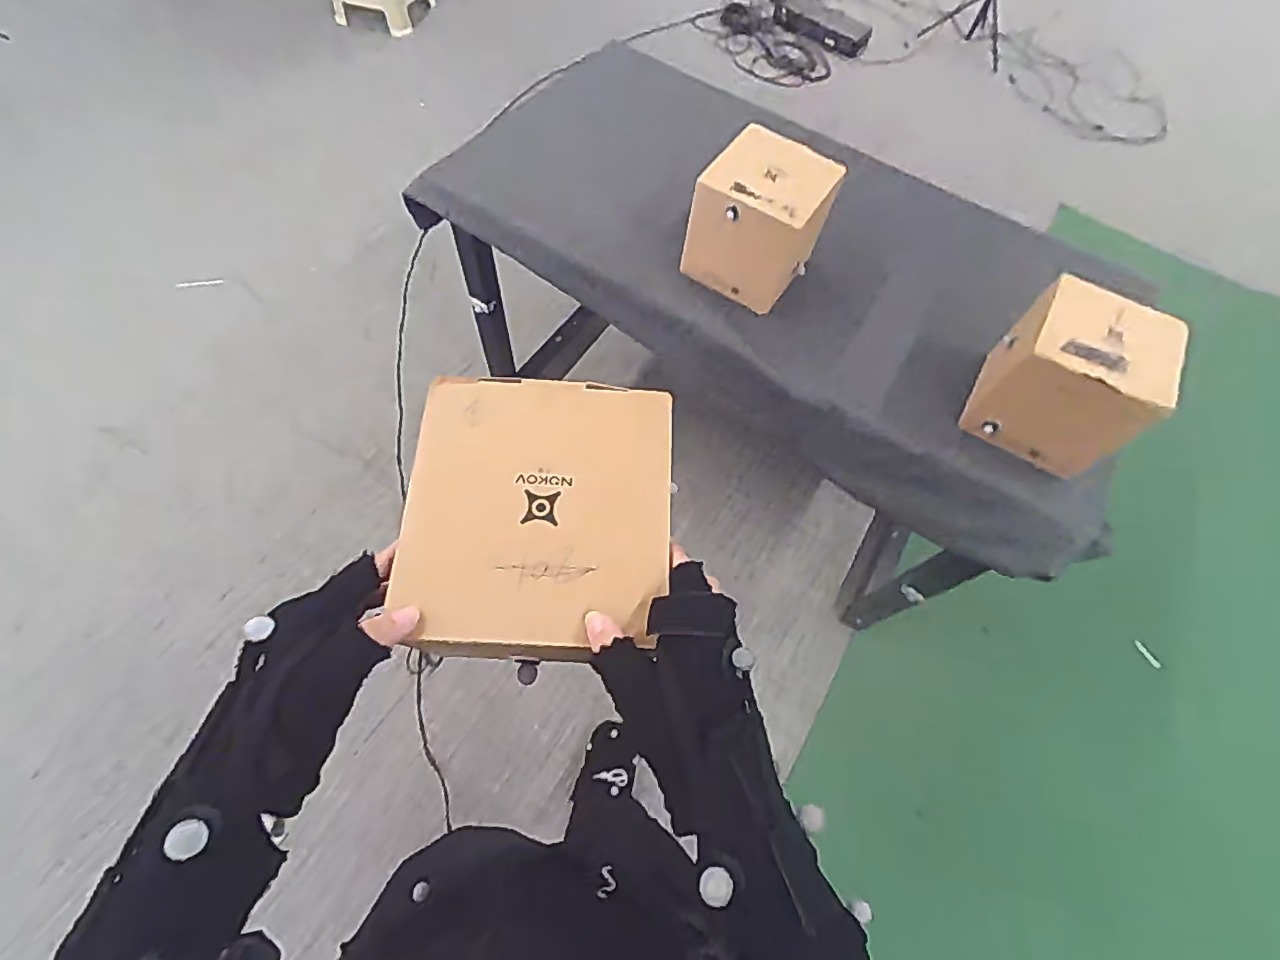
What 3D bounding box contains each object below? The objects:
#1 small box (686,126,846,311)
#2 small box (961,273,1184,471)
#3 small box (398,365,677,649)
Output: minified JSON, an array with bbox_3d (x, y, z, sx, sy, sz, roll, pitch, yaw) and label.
[{"bbox_3d":[0.188,-0.408,0.856,0.168,0.176,0.179,32,64,11],"label":"small box"},{"bbox_3d":[0.590,-0.144,0.758,0.168,0.176,0.179,31,64,13],"label":"small box"},{"bbox_3d":[-0.064,0.032,0.421,0.168,0.176,0.179,1,69,-3],"label":"small box"}]
